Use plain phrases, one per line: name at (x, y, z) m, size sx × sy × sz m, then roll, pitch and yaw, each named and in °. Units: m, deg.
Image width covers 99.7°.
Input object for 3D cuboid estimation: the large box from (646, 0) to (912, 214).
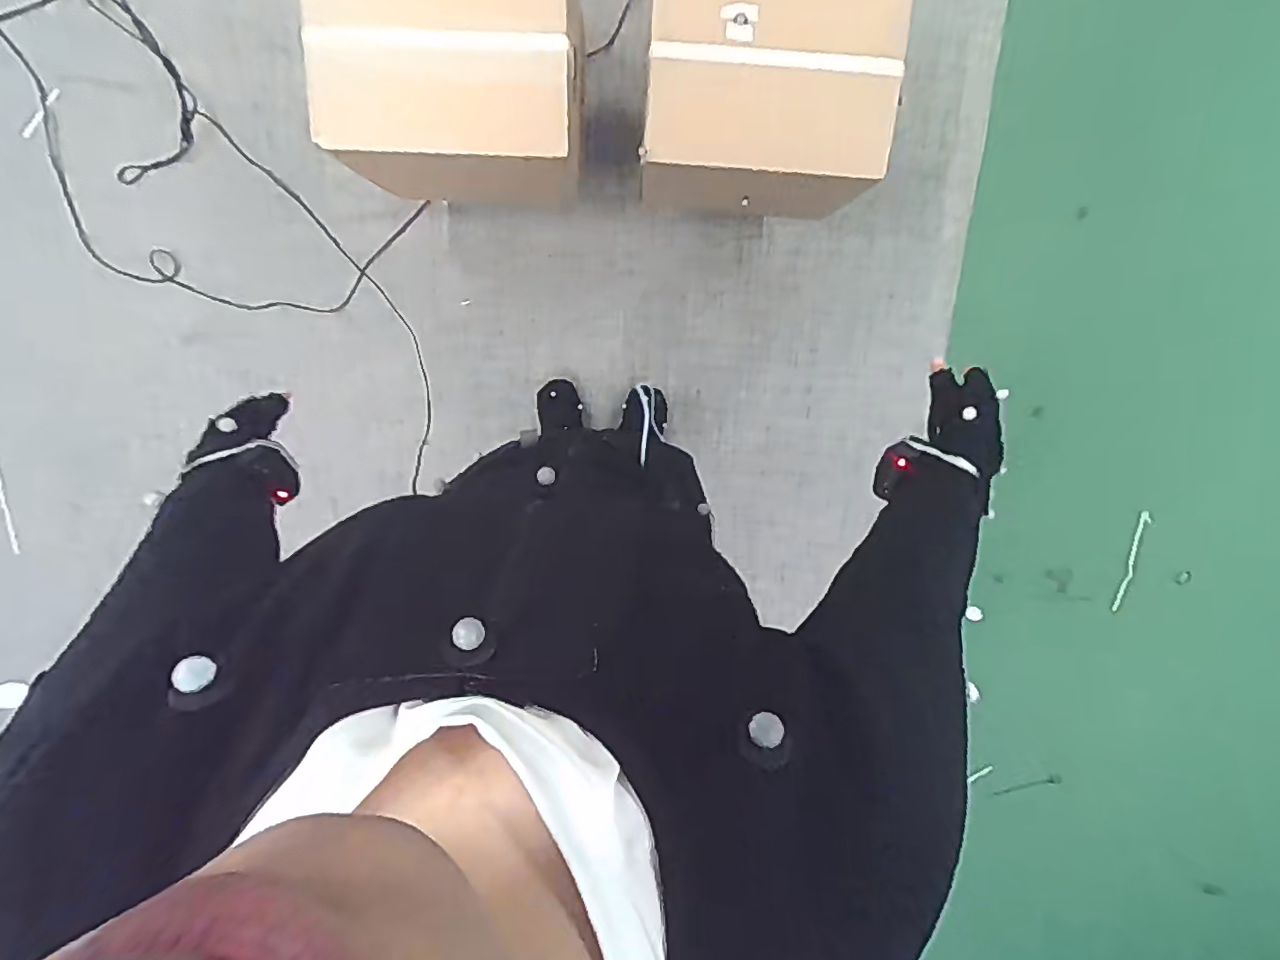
large box at (0.224, -0.705, 1.013) m, size 0.408 × 0.320 × 0.320 m, roll 4°, pitch 104°, yaw -2°
